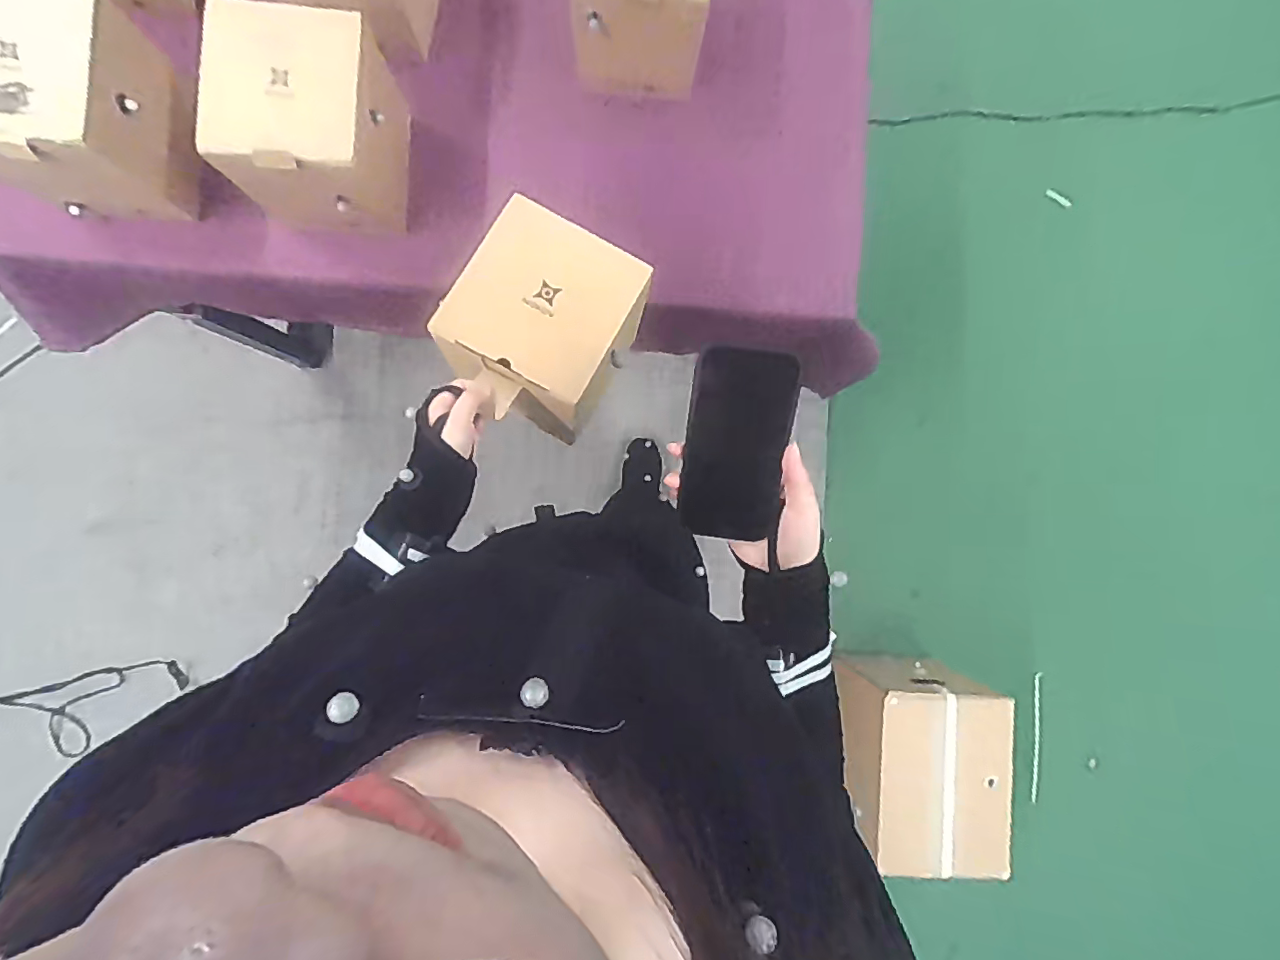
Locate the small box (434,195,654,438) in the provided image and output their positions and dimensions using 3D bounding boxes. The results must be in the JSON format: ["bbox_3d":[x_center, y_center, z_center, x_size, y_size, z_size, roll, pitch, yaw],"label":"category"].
[{"bbox_3d":[-0.105,-0.173,0.626,0.168,0.176,0.179,28,79,-2],"label":"small box"}]

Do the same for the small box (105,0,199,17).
[{"bbox_3d":[-0.681,-0.721,0.664,0.168,0.176,0.179,-1,90,-5],"label":"small box"}]

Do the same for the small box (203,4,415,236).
[{"bbox_3d":[-0.396,-0.431,0.677,0.168,0.176,0.179,3,87,-4],"label":"small box"}]

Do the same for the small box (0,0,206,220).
[{"bbox_3d":[-0.669,-0.442,0.657,0.168,0.176,0.179,2,87,-4],"label":"small box"}]

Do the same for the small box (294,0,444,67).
[{"bbox_3d":[-0.357,-0.685,0.684,0.168,0.176,0.179,10,88,-3],"label":"small box"}]
